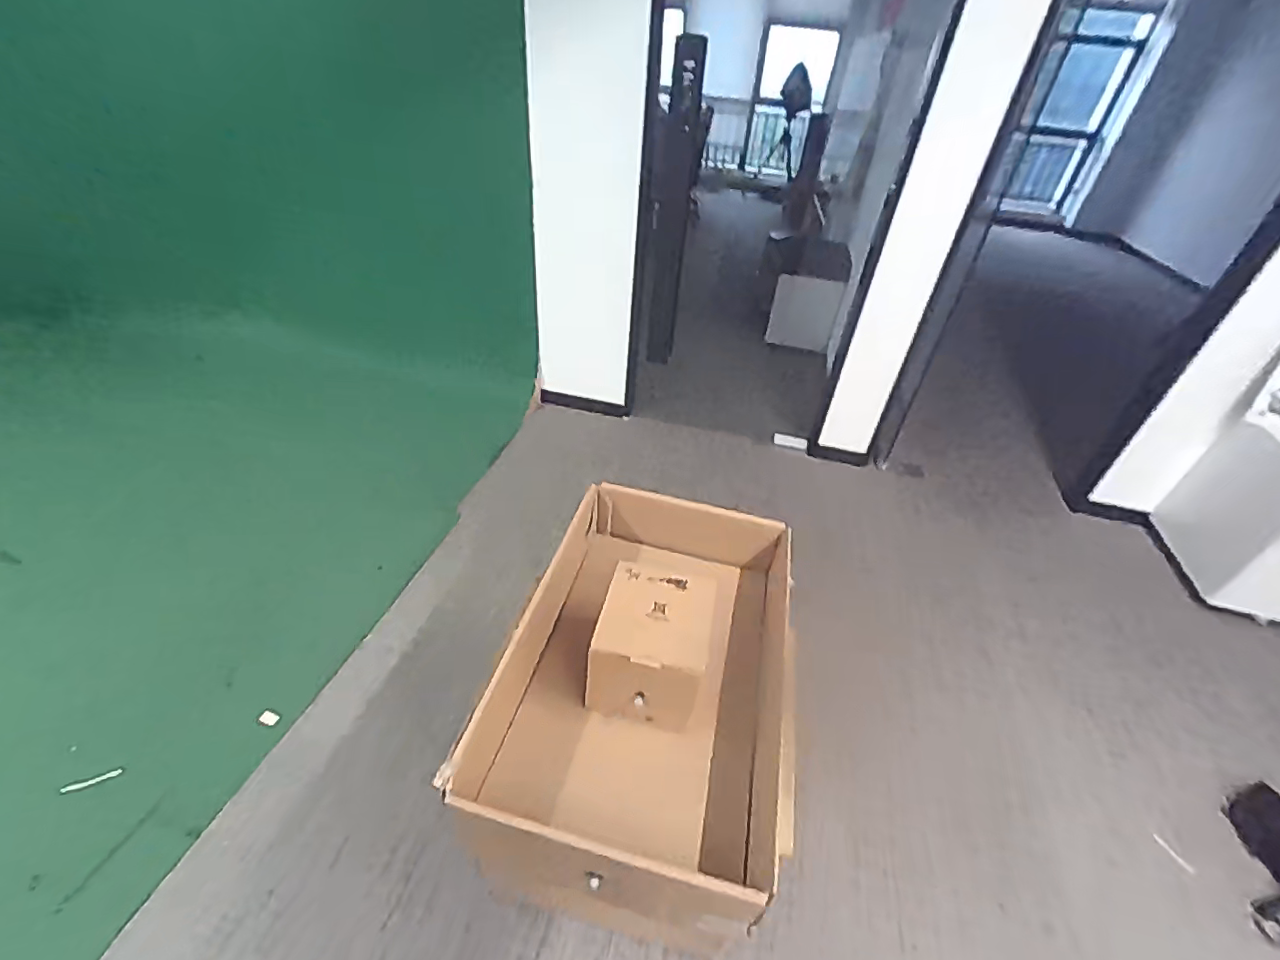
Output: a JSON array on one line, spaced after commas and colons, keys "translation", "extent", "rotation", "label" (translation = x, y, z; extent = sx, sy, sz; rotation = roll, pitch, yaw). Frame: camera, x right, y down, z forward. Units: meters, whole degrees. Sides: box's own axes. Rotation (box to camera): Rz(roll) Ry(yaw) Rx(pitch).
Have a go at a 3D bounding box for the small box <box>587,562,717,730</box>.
[{"translation": [0.020, 0.265, 0.860], "extent": [0.168, 0.176, 0.179], "rotation": [12, 39, 7], "label": "small box"}]
